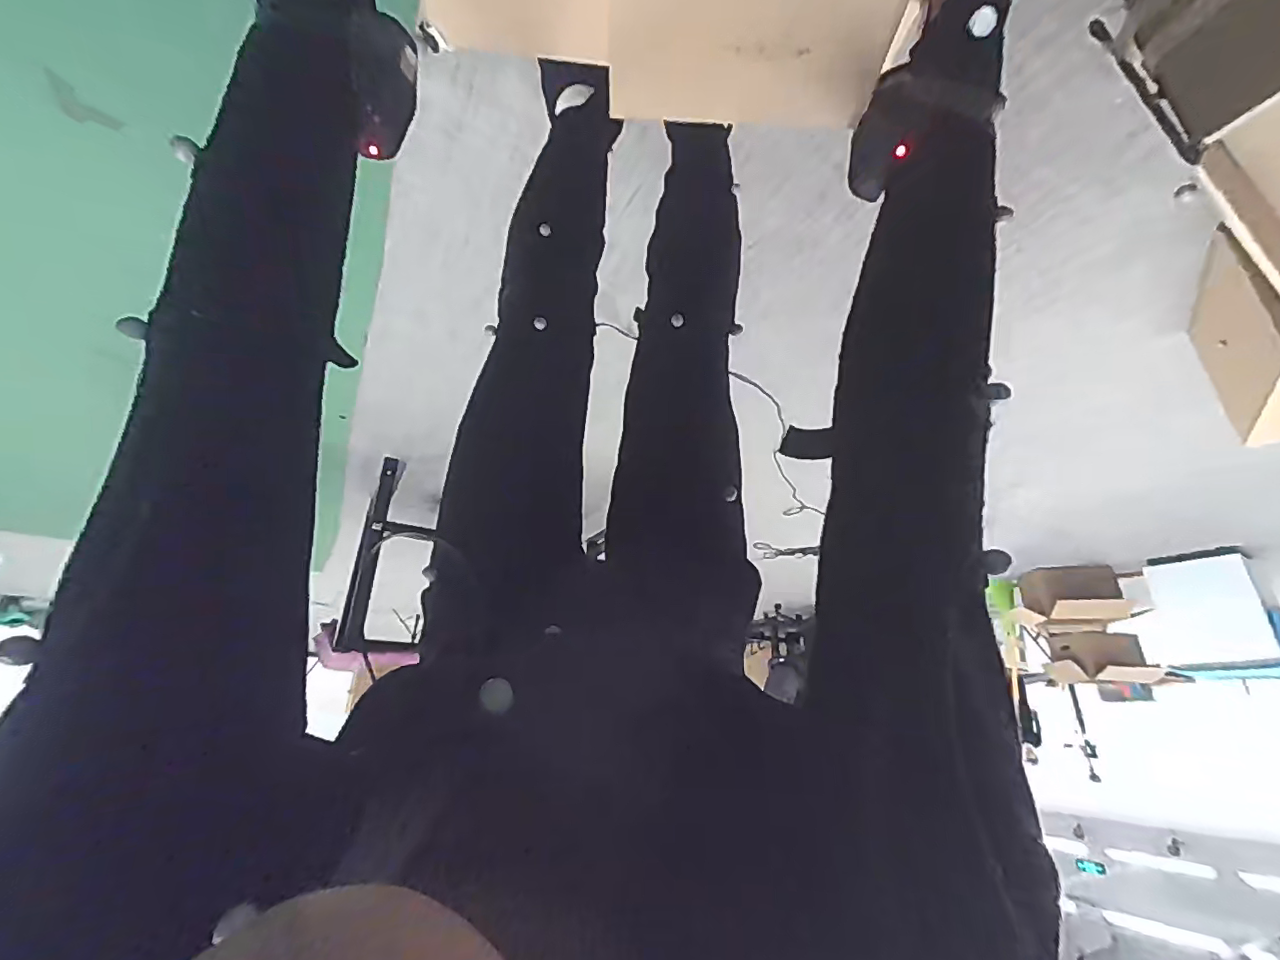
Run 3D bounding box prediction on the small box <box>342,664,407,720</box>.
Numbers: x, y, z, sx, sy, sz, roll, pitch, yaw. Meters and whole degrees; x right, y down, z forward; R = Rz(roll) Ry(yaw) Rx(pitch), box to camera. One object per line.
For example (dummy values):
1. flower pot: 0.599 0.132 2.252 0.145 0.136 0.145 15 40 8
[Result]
1. small box: -0.926 0.743 1.890 0.168 0.176 0.179 14 154 -28
